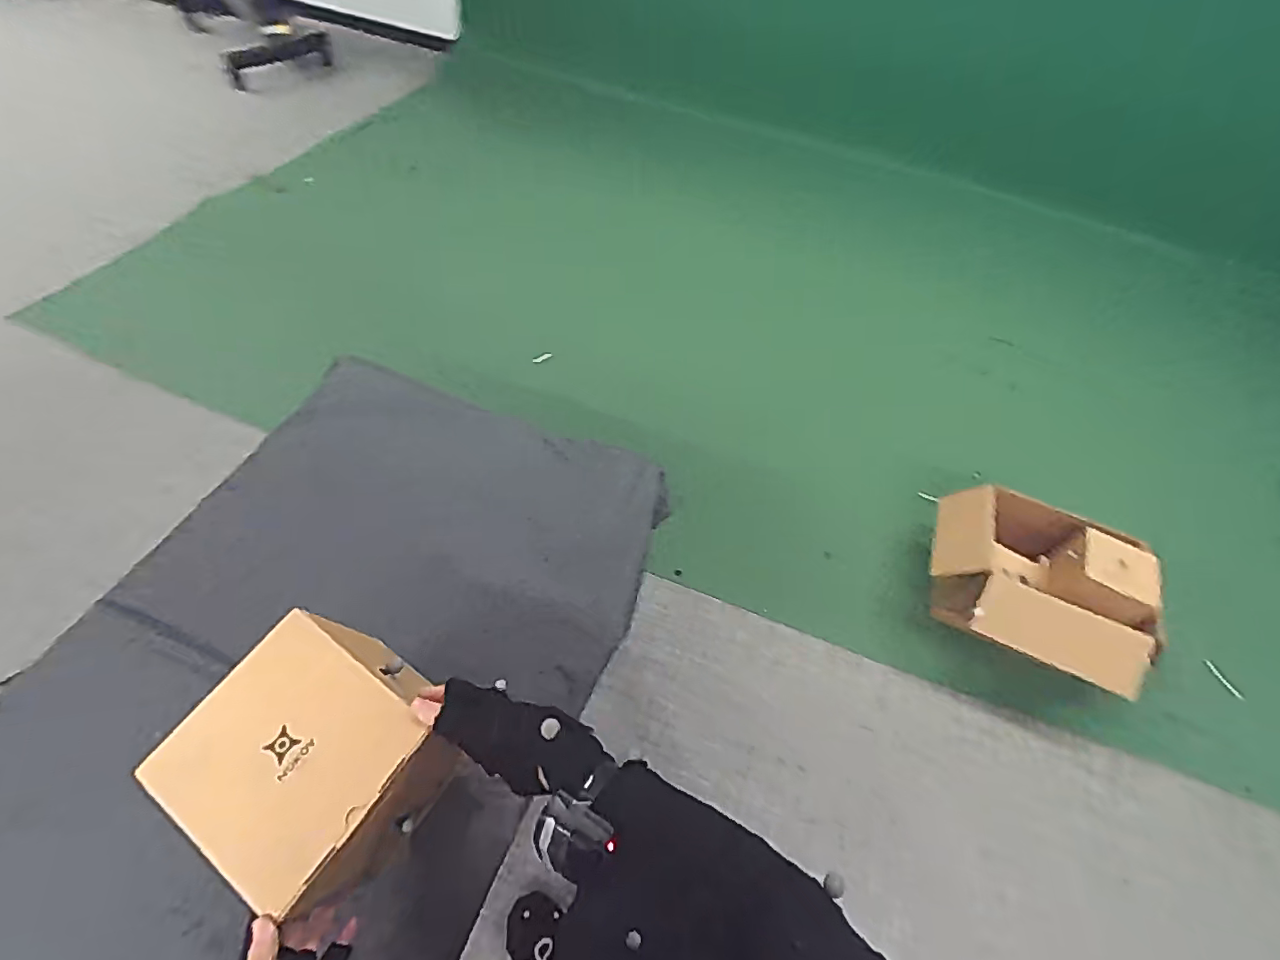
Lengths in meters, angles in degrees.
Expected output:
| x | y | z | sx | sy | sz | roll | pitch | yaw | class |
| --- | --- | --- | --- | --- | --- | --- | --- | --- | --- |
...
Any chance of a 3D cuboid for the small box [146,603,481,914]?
| x | y | z | sx | sy | sz | roll | pitch | yaw | class |
| --- | --- | --- | --- | --- | --- | --- | --- | --- | --- |
| -0.282 | 0.249 | 0.511 | 0.179 | 0.176 | 0.168 | 34 | 68 | 14 | small box |
